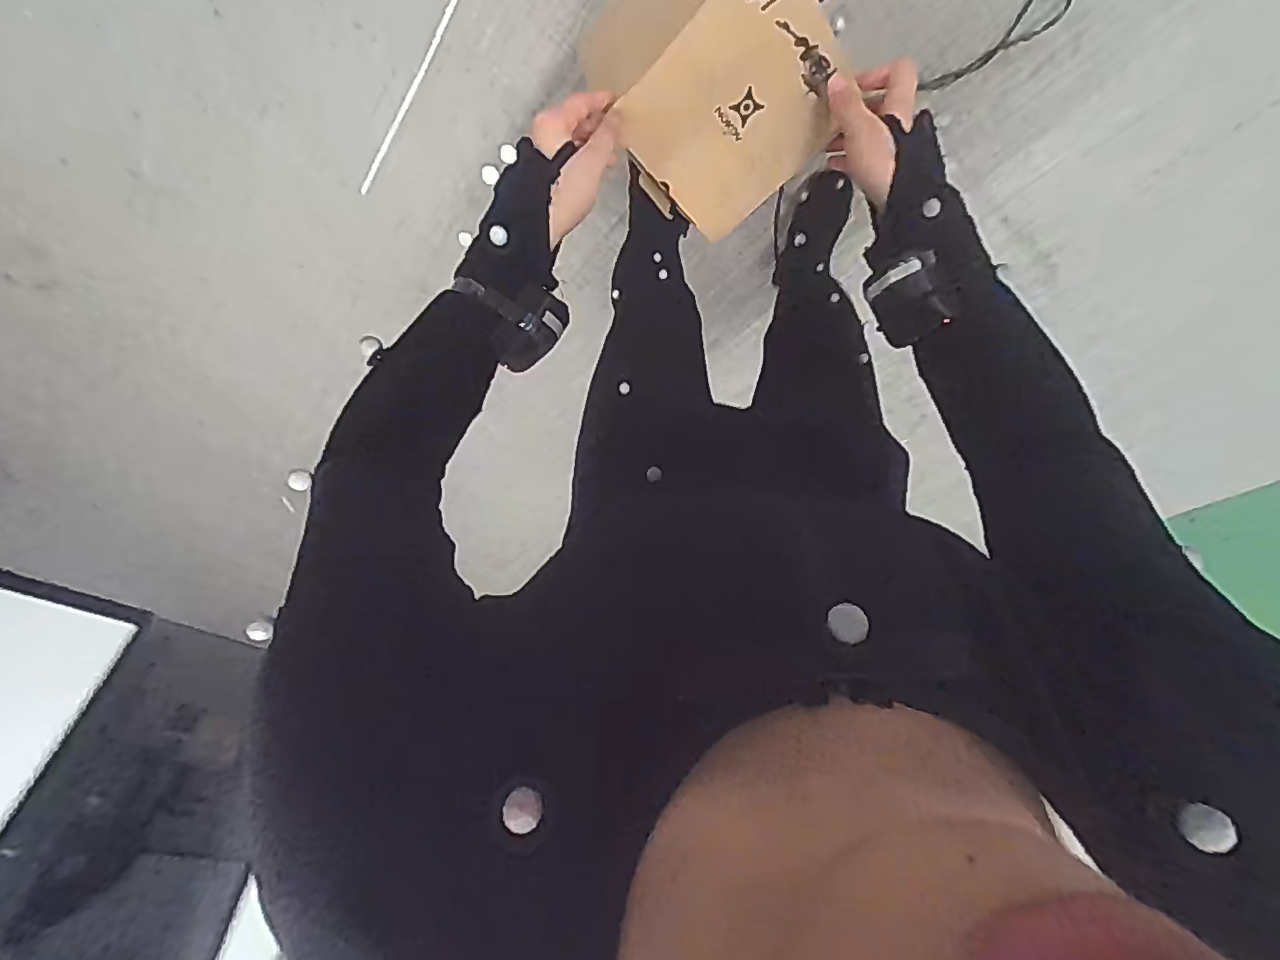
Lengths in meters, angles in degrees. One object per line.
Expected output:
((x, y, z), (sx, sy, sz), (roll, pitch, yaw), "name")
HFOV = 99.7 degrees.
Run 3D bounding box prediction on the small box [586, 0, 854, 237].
((0.063, -0.381, 0.508), (0.179, 0.176, 0.168), (-32, 141, 29), "small box")
